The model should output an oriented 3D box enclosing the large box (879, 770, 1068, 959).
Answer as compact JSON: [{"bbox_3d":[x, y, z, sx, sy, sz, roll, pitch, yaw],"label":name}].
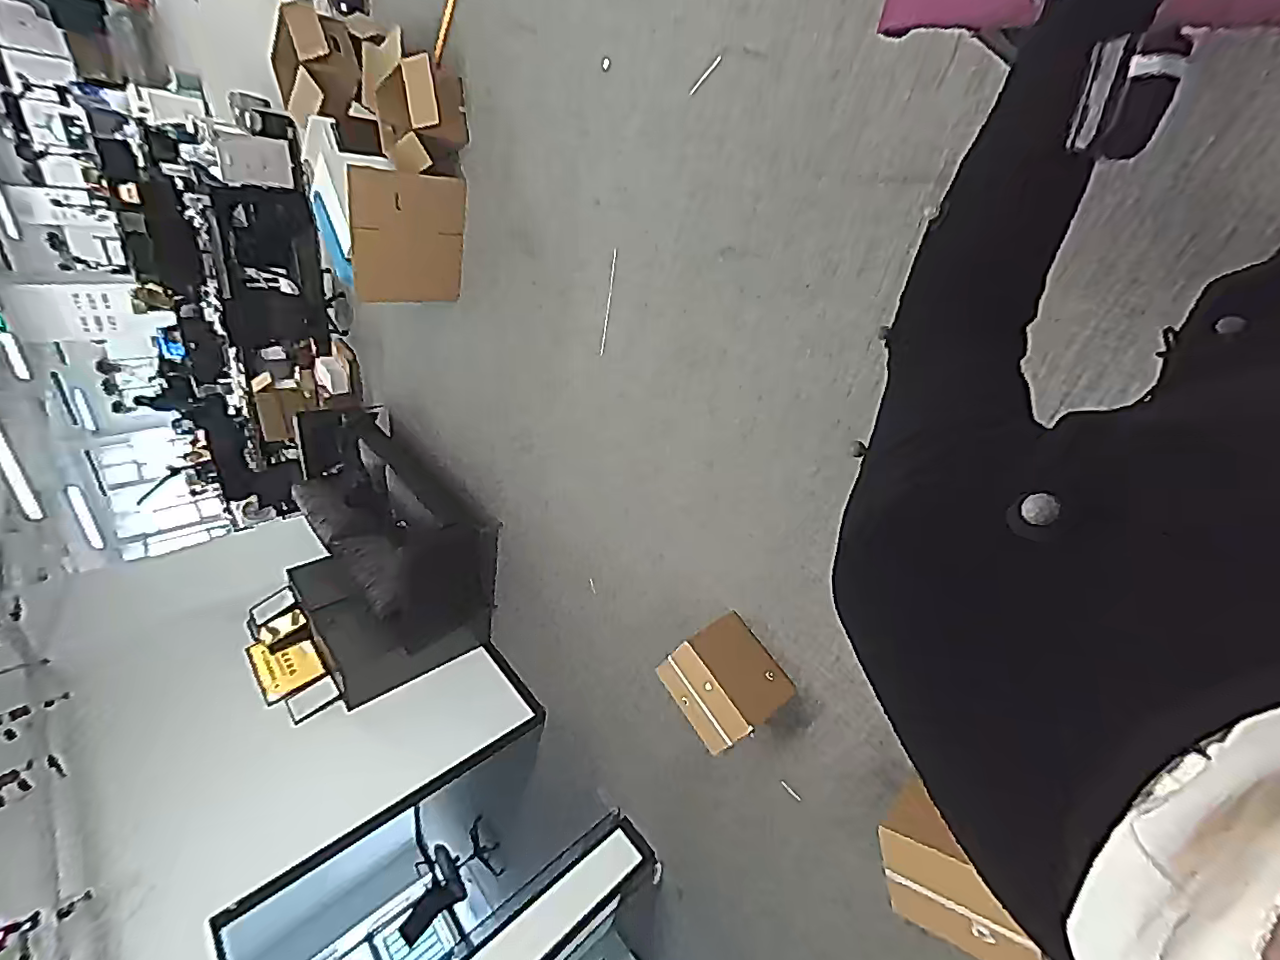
[{"bbox_3d":[1.003,1.158,1.633,0.408,0.320,0.320,-4,102,48],"label":"large box"}]
